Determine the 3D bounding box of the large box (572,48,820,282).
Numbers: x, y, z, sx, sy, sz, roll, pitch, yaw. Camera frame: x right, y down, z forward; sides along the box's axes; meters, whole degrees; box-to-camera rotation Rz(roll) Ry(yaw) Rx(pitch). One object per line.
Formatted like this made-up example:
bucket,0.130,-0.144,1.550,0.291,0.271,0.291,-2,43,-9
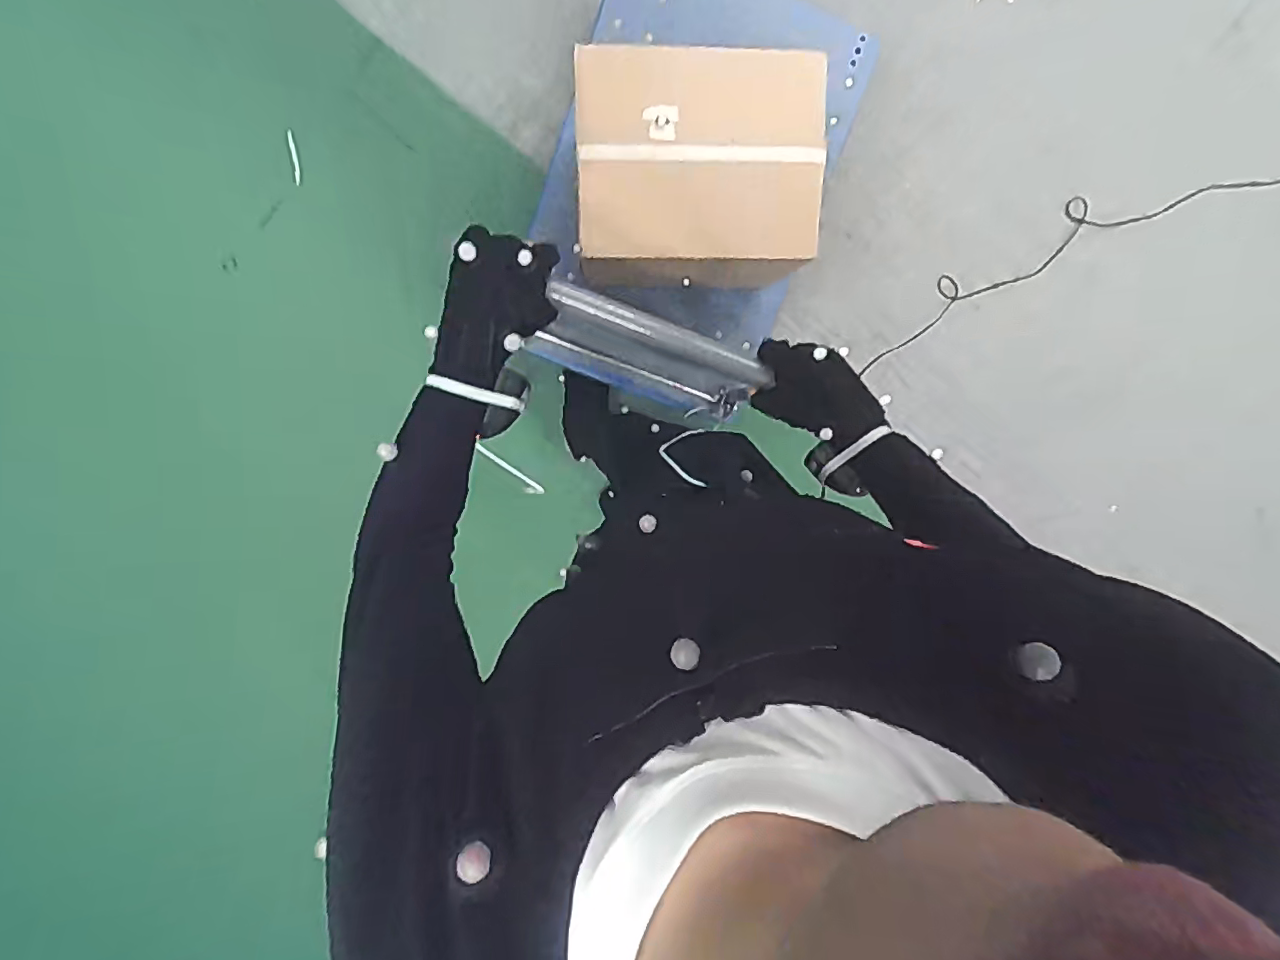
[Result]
large box,0.088,-0.559,1.026,0.408,0.320,0.320,-1,100,-3
